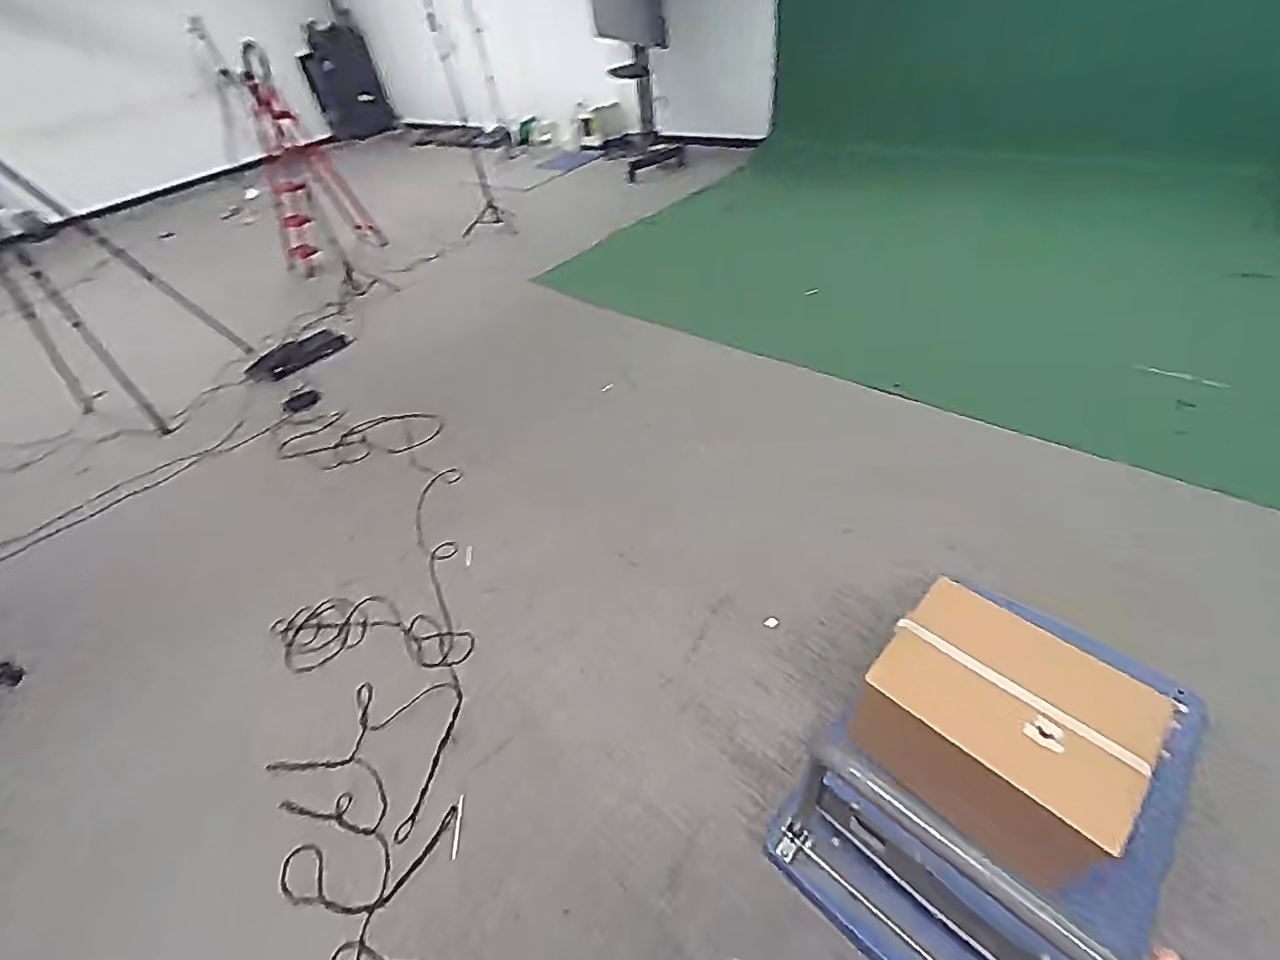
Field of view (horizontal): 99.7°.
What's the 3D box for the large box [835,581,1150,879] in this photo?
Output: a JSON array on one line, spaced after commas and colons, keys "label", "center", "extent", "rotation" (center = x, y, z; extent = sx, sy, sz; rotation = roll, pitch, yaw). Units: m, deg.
[{"label": "large box", "center": [0.673, 0.490, 1.099], "extent": [0.320, 0.320, 0.408], "rotation": [-39, 52, -26]}]
